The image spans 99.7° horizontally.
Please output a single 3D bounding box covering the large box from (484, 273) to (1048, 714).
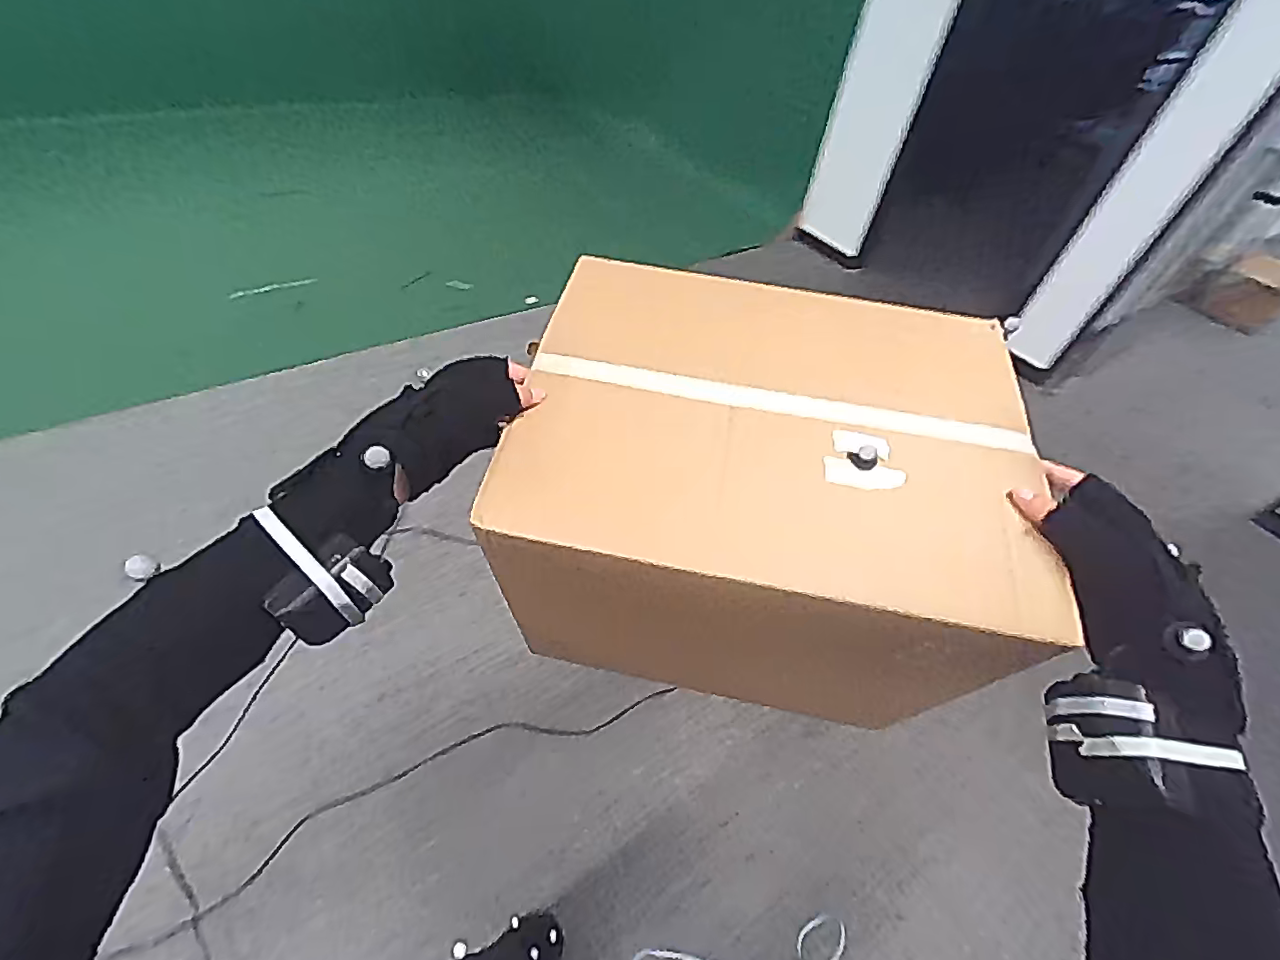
[{"bbox_3d":[0.097,0.027,0.578,0.408,0.320,0.320,10,57,3],"label":"large box"}]
